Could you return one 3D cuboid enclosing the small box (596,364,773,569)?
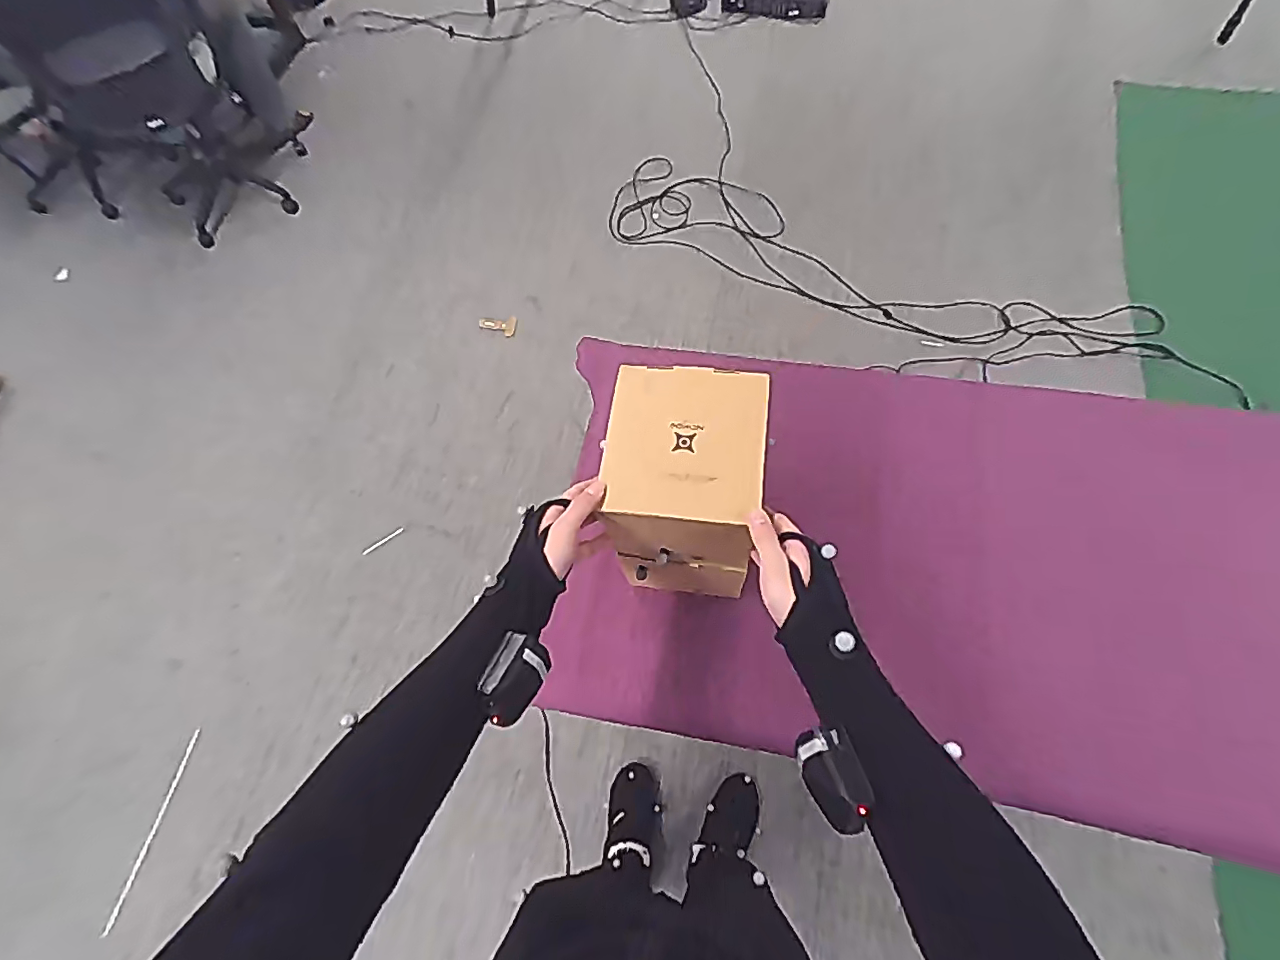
[{"bbox_3d":[0.055,-0.009,0.630,0.168,0.176,0.179,7,68,9],"label":"small box"}]
